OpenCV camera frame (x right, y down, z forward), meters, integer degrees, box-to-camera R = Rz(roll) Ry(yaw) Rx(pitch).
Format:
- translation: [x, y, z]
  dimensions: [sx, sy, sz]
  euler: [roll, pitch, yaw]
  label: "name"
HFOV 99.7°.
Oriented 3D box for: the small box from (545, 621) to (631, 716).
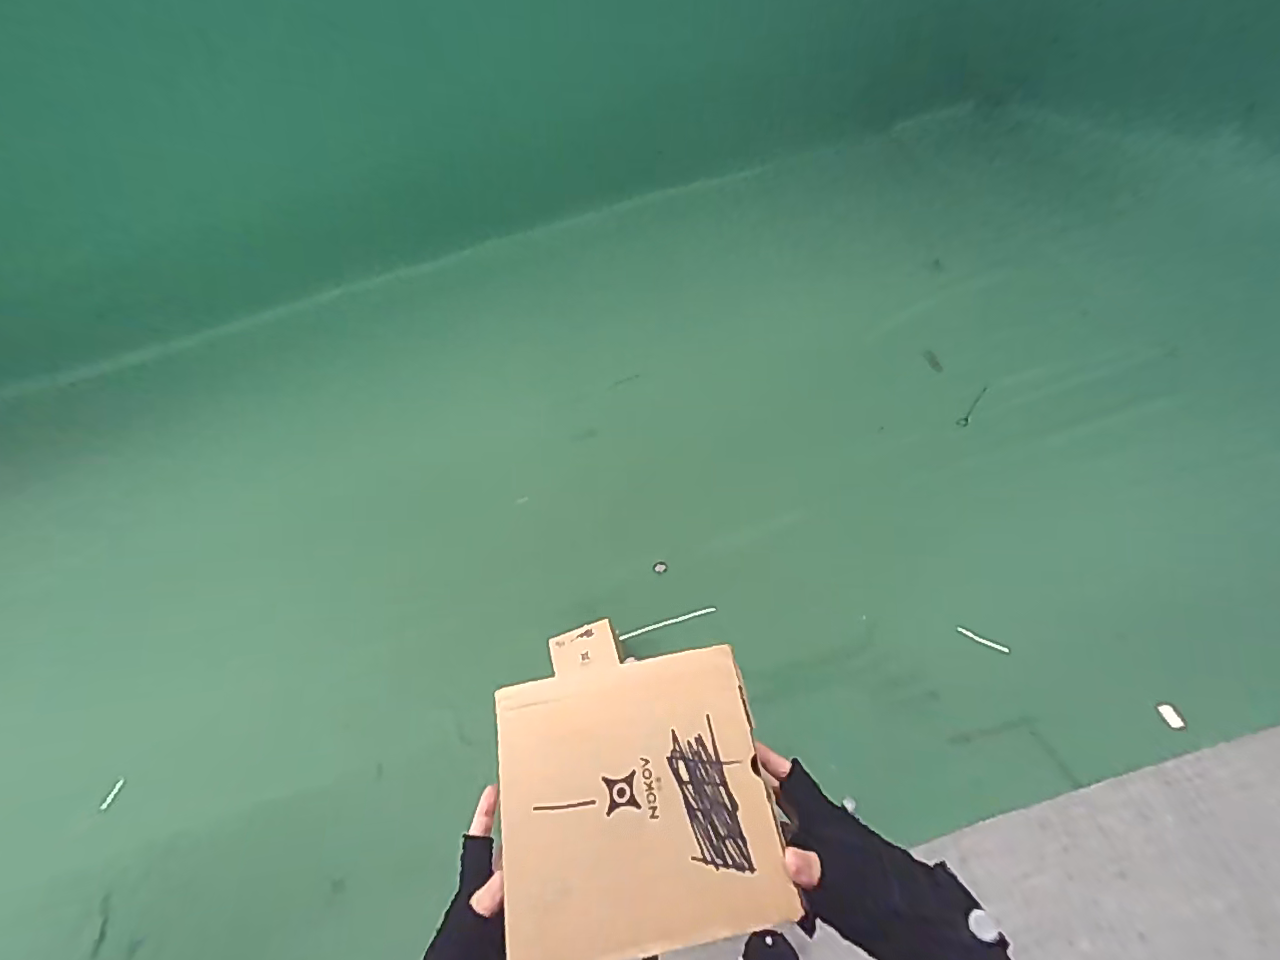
- translation: [-0.130, 0.496, 1.402]
  dimensions: [0.168, 0.176, 0.179]
  euler: [-19, 53, -2]
  label: "small box"
